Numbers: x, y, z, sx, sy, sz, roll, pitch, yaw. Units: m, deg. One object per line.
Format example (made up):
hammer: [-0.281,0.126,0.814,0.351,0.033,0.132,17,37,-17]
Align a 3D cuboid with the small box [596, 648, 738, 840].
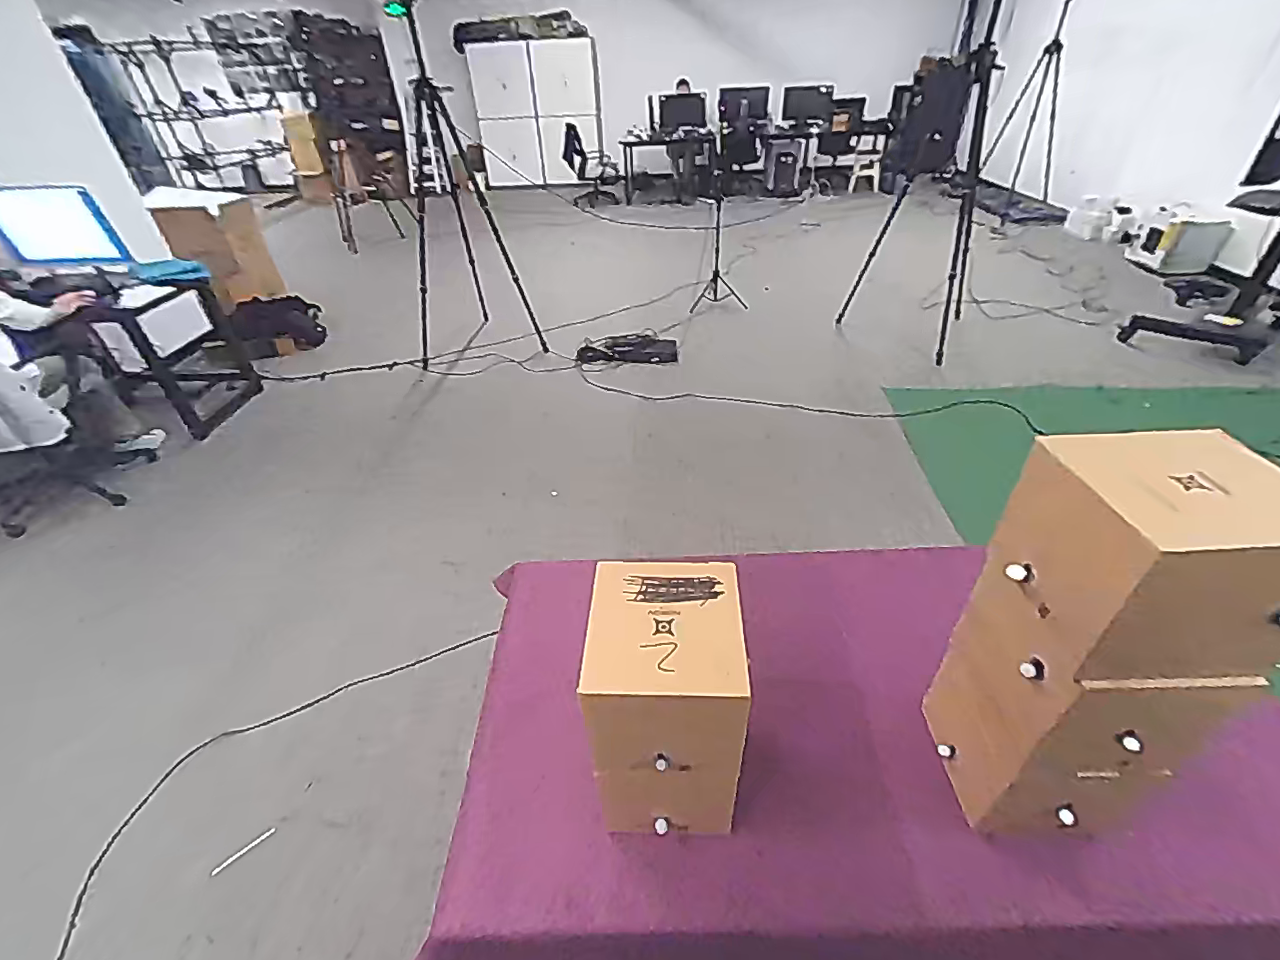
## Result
small box: [0.037,0.350,0.726,0.168,0.176,0.179,0,38,4]

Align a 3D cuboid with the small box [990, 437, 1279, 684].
small box: [0.481,0.075,0.513,0.179,0.176,0.168,-2,36,3]

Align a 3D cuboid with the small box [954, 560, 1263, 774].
small box: [0.492,0.208,0.608,0.168,0.176,0.179,-1,37,2]

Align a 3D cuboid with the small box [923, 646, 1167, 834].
small box: [0.503,0.339,0.708,0.168,0.176,0.179,-1,38,2]
